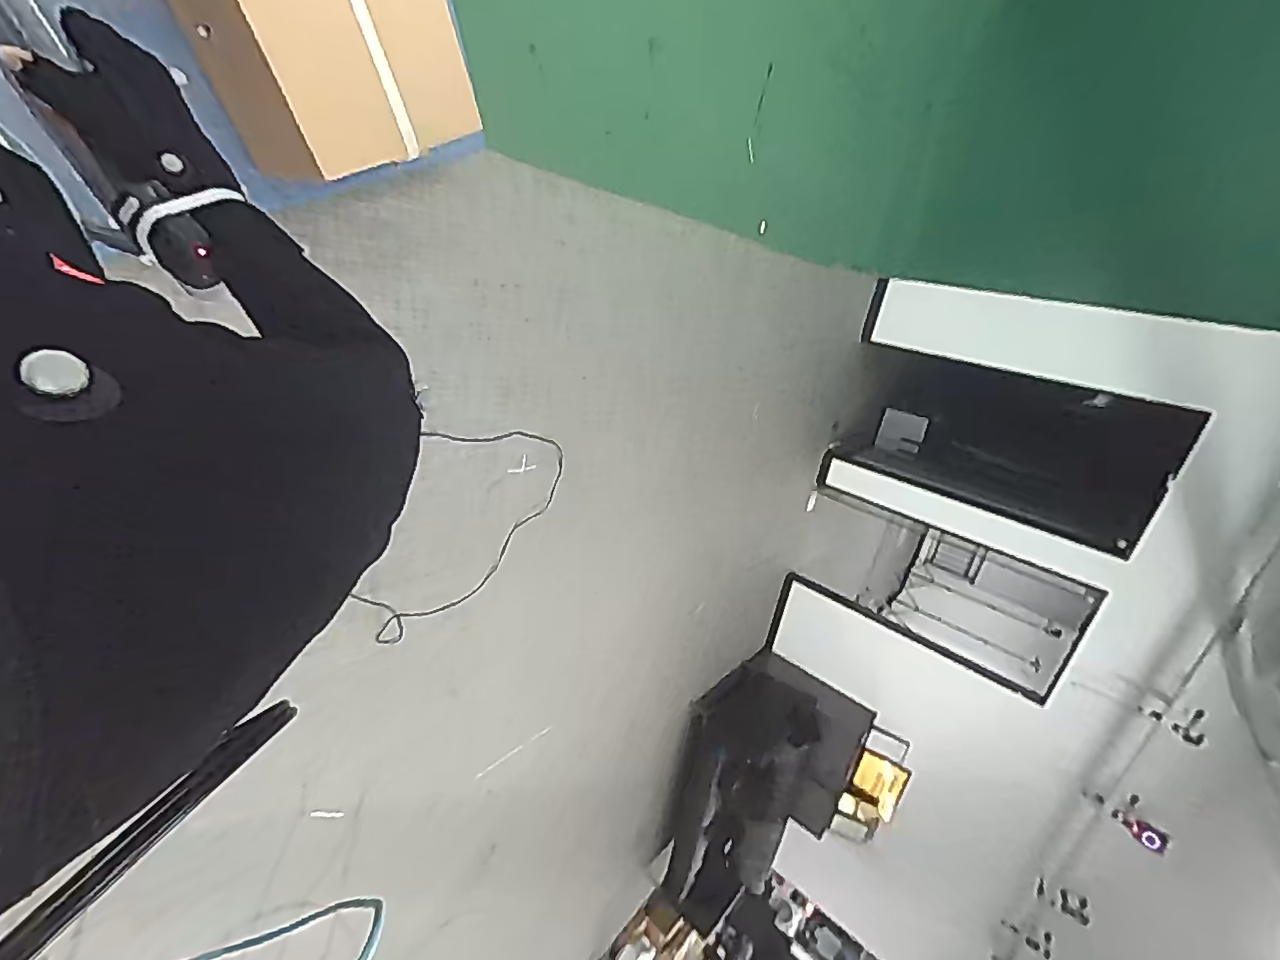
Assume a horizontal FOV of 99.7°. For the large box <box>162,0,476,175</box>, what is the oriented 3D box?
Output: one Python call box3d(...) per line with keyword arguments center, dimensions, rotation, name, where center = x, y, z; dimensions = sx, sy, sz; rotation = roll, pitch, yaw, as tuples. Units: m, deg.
box3d(center=(-0.541, -0.761, 0.872), dimensions=(0.320, 0.320, 0.408), rotation=(-43, 139, -30), name="large box")
